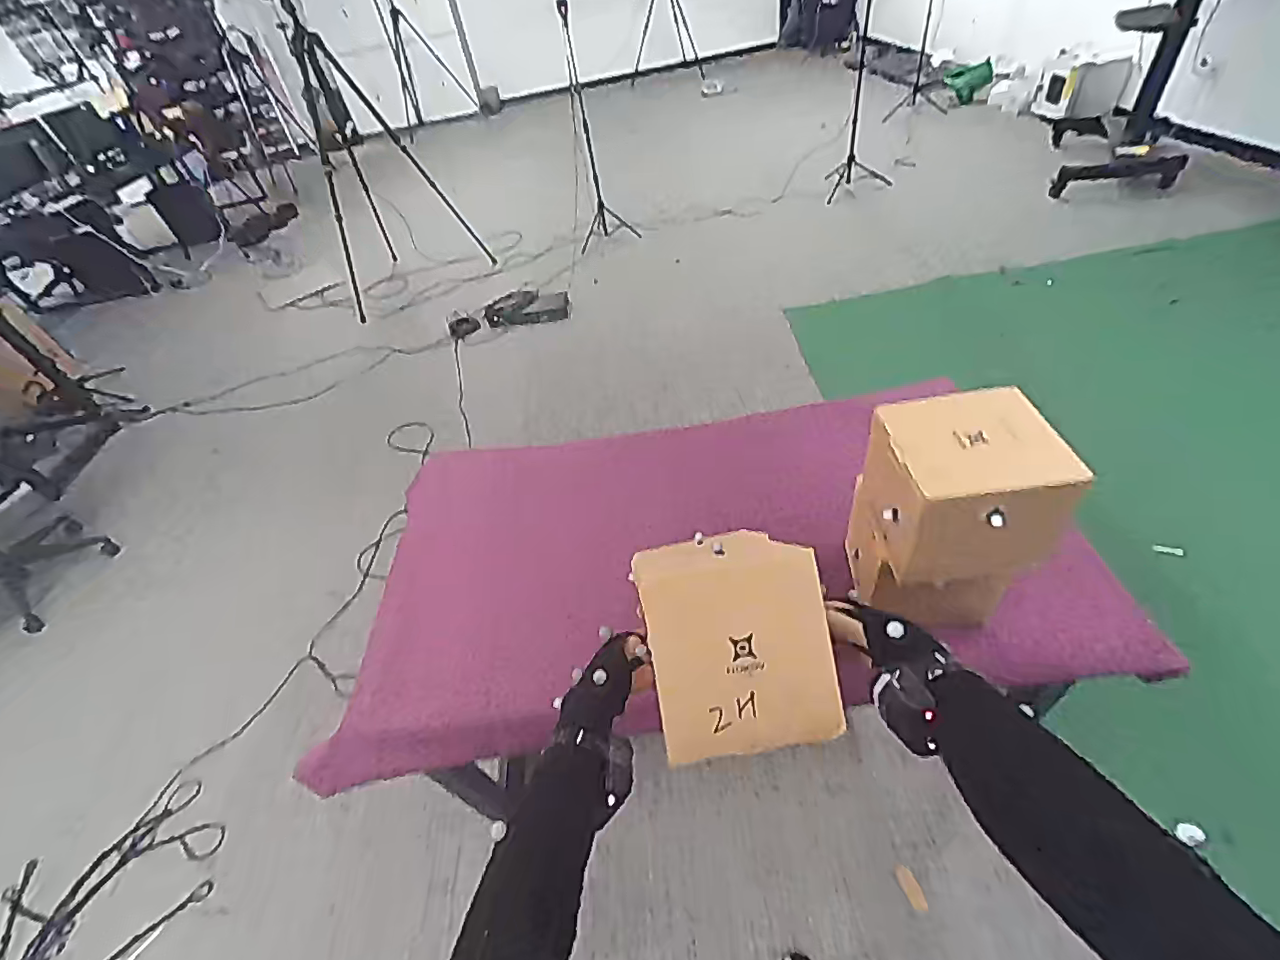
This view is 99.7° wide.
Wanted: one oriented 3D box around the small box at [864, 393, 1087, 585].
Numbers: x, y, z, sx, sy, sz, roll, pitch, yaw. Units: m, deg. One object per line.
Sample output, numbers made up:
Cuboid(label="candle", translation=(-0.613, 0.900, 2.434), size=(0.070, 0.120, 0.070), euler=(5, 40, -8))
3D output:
Cuboid(label="small box", translation=(0.393, 0.016, 0.679), size=(0.179, 0.176, 0.168), euler=(-7, 44, 6))

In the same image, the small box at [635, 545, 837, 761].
Cuboid(label="small box", translation=(0.086, 0.164, 0.575), size=(0.168, 0.176, 0.179), euler=(-8, 86, -1))

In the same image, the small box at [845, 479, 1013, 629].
Cuboid(label="small box", translation=(0.419, 0.111, 0.813), size=(0.179, 0.176, 0.168), euler=(-4, 44, 11))

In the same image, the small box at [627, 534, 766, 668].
Cuboid(label="small box", translation=(0.085, 0.170, 0.742), size=(0.179, 0.176, 0.168), euler=(-11, 86, -1))
